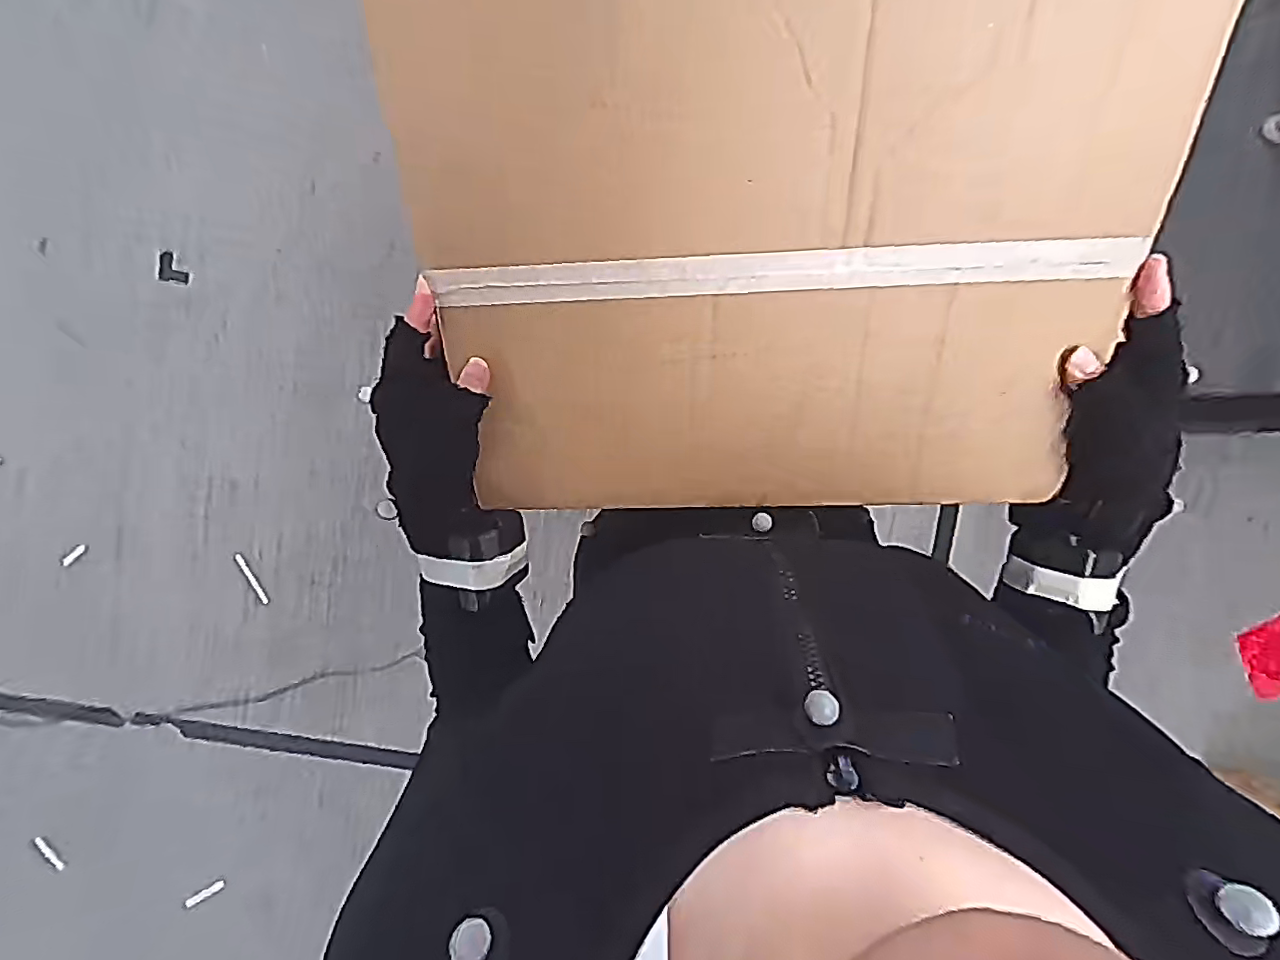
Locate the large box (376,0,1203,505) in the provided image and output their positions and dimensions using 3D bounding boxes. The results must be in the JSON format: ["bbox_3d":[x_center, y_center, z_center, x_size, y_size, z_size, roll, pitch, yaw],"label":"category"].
[{"bbox_3d":[0.079,-0.192,0.451,0.408,0.320,0.320,-1,119,3],"label":"large box"}]
